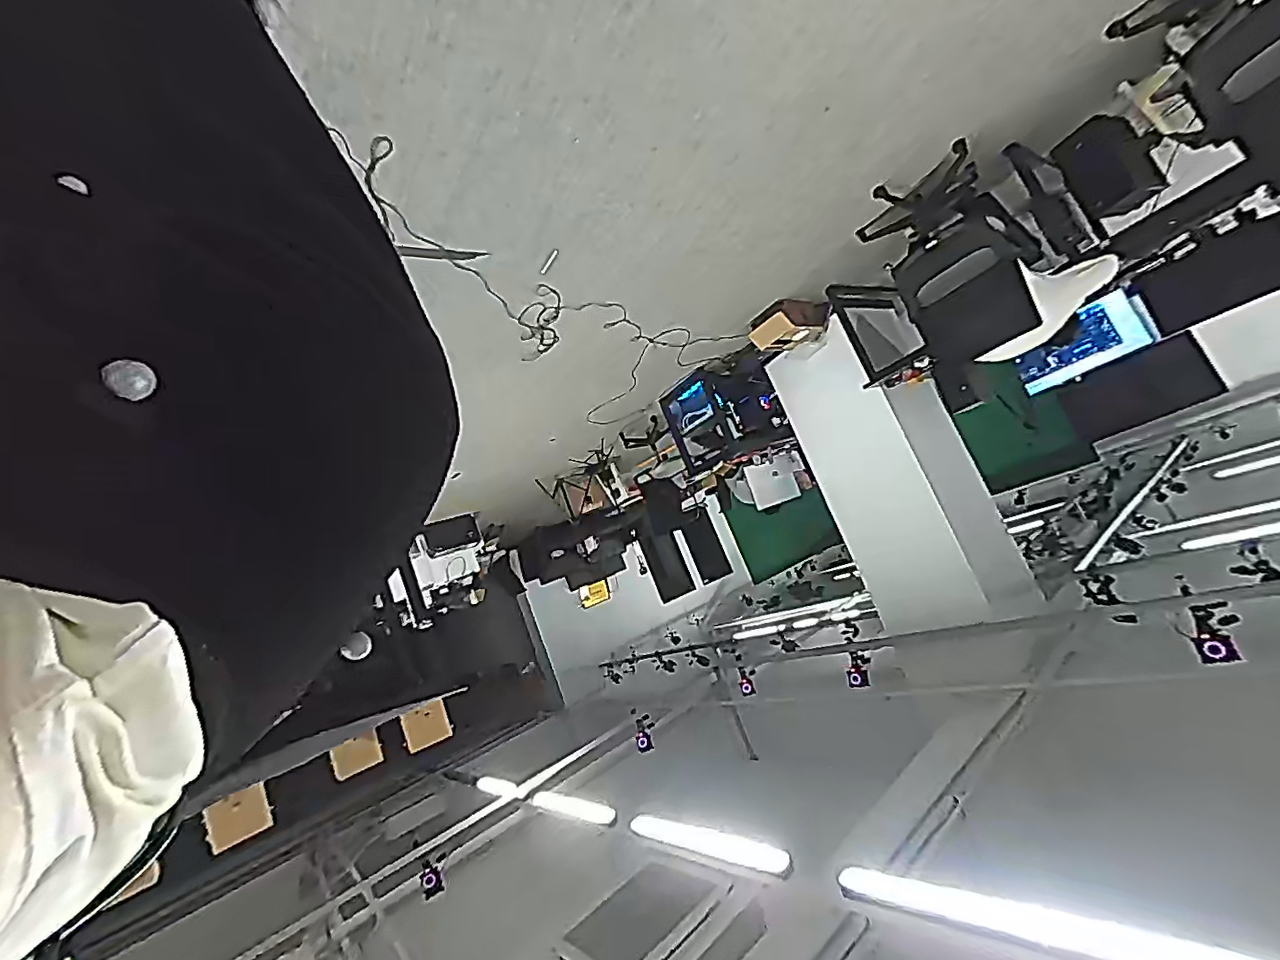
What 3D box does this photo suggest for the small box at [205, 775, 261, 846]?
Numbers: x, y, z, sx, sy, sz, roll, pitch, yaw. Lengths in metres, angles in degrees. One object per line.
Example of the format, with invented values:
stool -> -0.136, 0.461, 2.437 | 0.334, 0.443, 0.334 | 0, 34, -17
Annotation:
small box -> -1.540, 1.255, 2.065 | 0.179, 0.176, 0.168 | -14, 168, -41

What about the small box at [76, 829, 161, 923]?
small box -> -1.631, 1.229, 1.697 | 0.168, 0.176, 0.179 | -15, 169, -43

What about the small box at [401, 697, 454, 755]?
small box -> -0.897, 1.029, 2.274 | 0.168, 0.176, 0.179 | -16, 168, -29

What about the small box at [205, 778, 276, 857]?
small box -> -1.393, 1.165, 1.883 | 0.168, 0.176, 0.179 | -15, 170, -41
